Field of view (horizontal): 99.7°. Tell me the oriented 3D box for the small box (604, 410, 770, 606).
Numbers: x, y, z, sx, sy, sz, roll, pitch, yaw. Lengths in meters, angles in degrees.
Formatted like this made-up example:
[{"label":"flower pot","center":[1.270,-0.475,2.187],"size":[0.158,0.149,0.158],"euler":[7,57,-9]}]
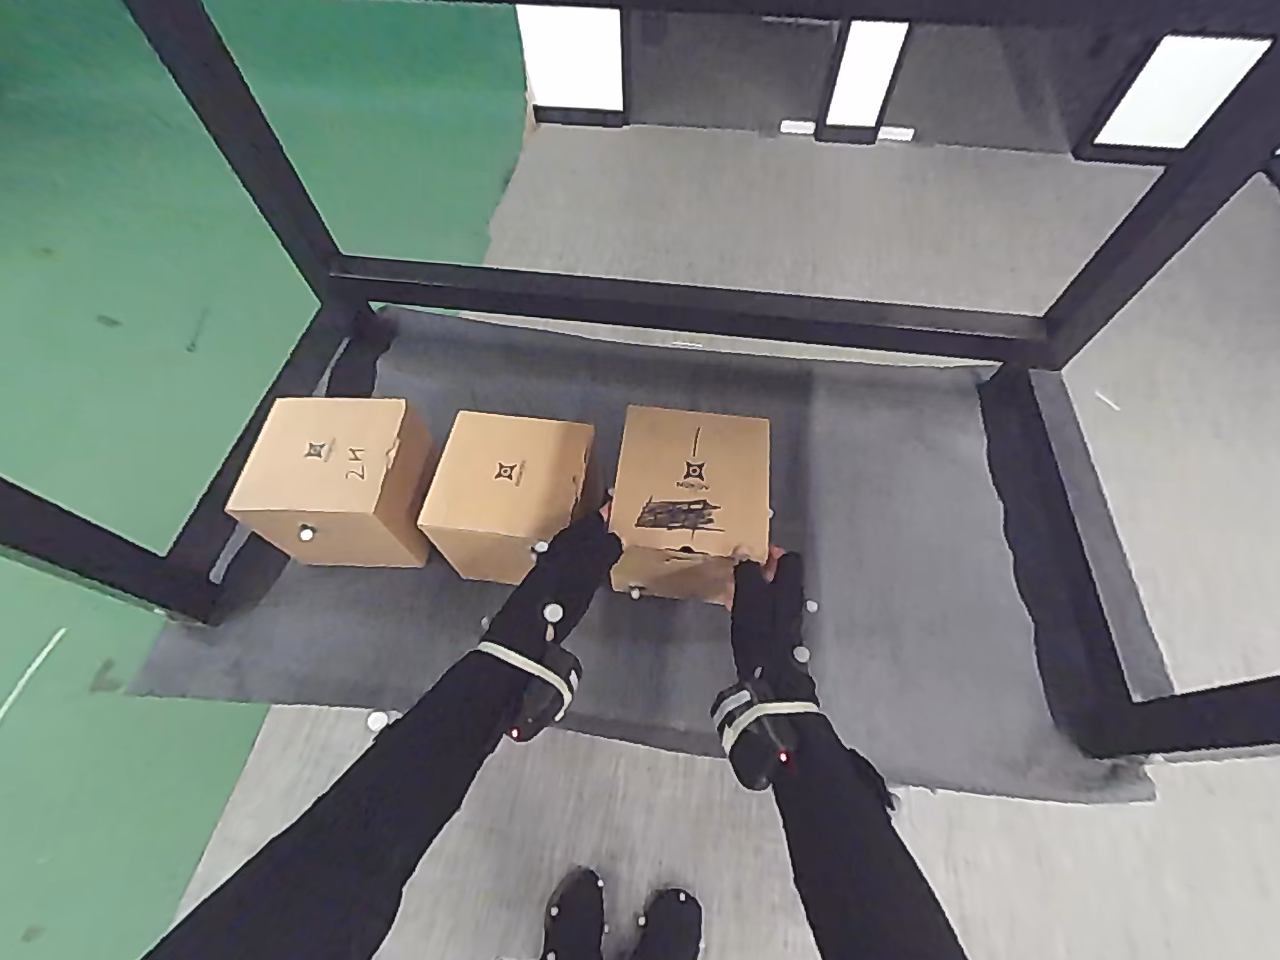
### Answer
[{"label":"small box","center":[0.056,0.041,0.649],"size":[0.168,0.176,0.179],"euler":[7,62,3]}]
